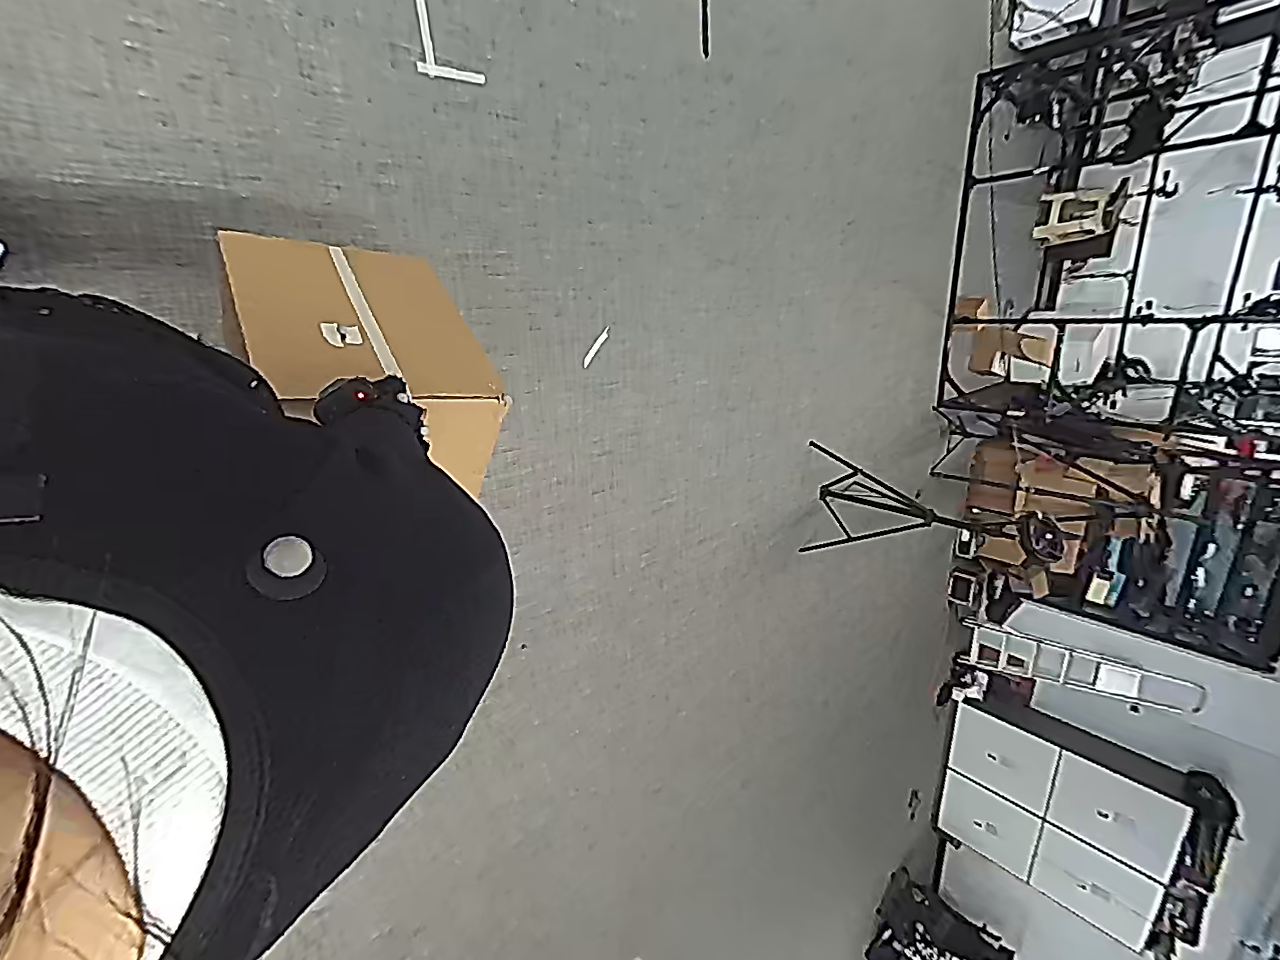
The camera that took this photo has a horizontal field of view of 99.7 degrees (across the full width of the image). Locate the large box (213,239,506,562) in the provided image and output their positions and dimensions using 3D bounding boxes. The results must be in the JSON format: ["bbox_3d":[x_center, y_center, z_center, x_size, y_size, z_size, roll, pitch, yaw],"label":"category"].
[{"bbox_3d":[-0.481,-0.134,0.901,0.320,0.408,0.320,-9,142,-40],"label":"large box"}]
